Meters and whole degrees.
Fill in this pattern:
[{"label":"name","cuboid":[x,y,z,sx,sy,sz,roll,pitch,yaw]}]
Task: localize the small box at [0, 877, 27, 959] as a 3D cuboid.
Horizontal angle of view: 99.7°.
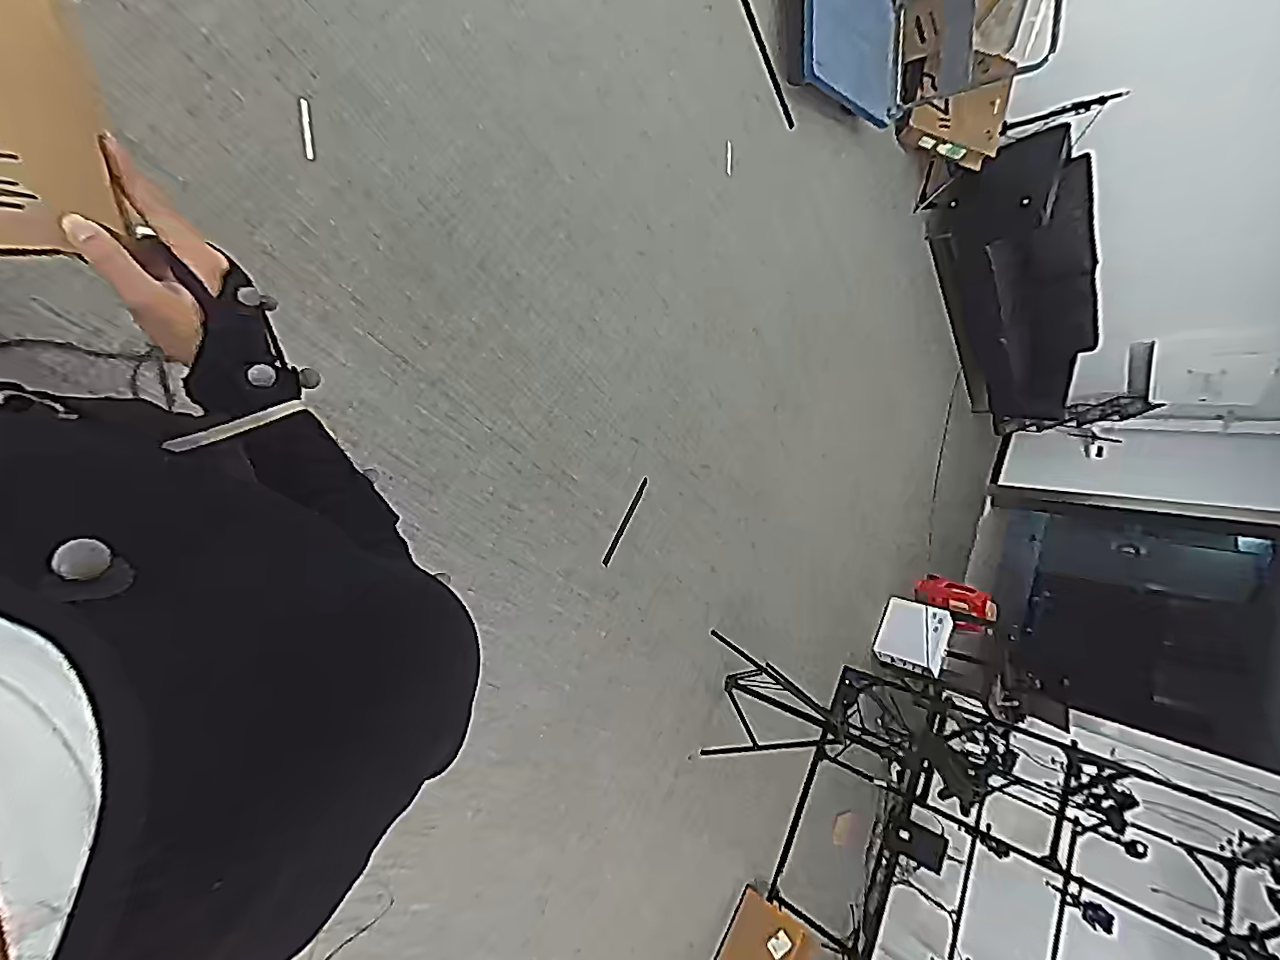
[{"label":"small box","cuboid":[-1.133,0.775,0.858,0.168,0.176,0.179,38,69,-43]}]
